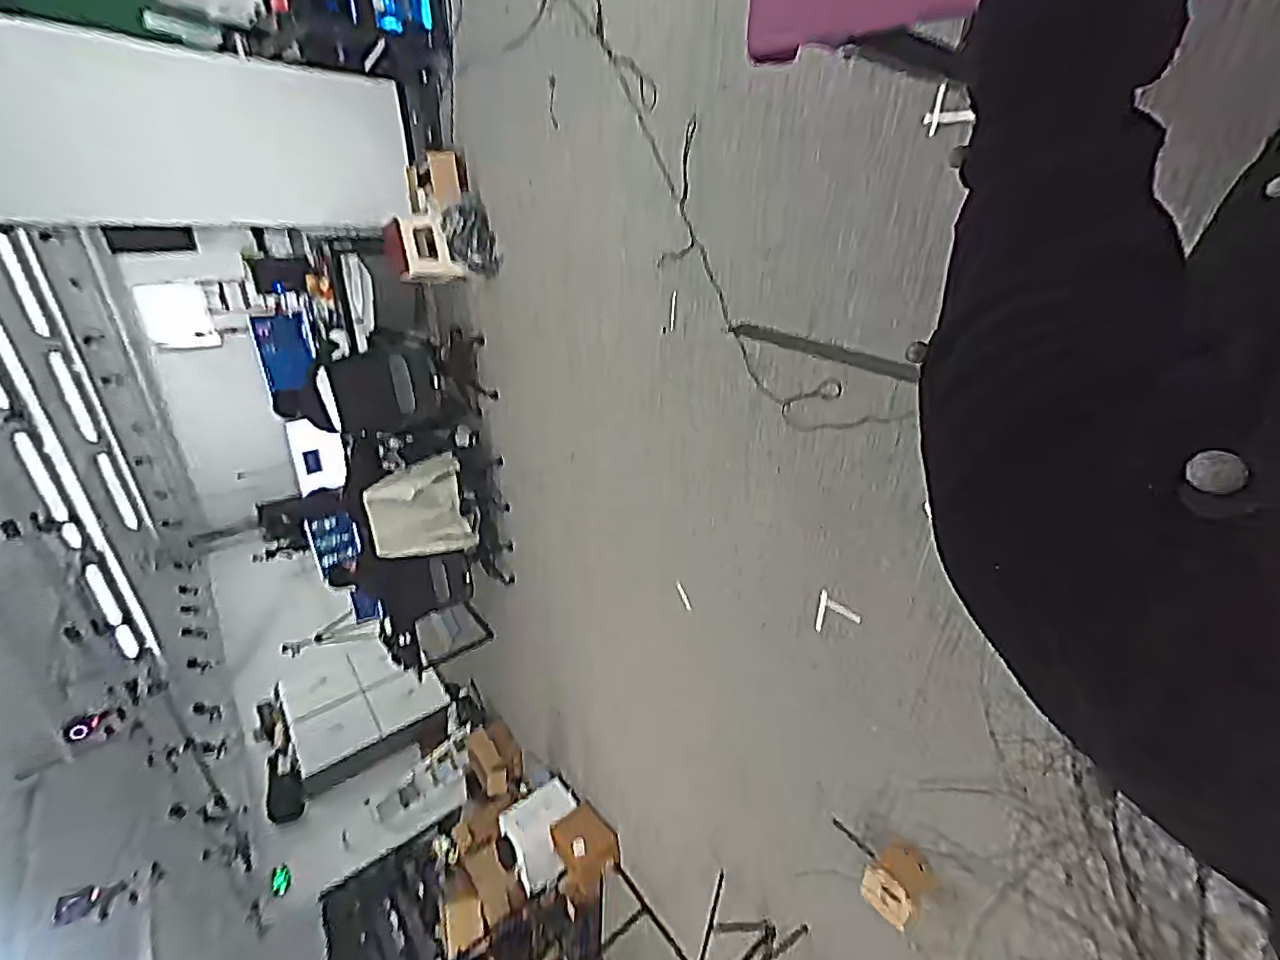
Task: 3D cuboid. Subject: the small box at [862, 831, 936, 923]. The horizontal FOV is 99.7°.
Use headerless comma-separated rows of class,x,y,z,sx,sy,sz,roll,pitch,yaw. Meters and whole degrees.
small box,0.935,1.419,1.946,0.168,0.176,0.179,29,128,44
